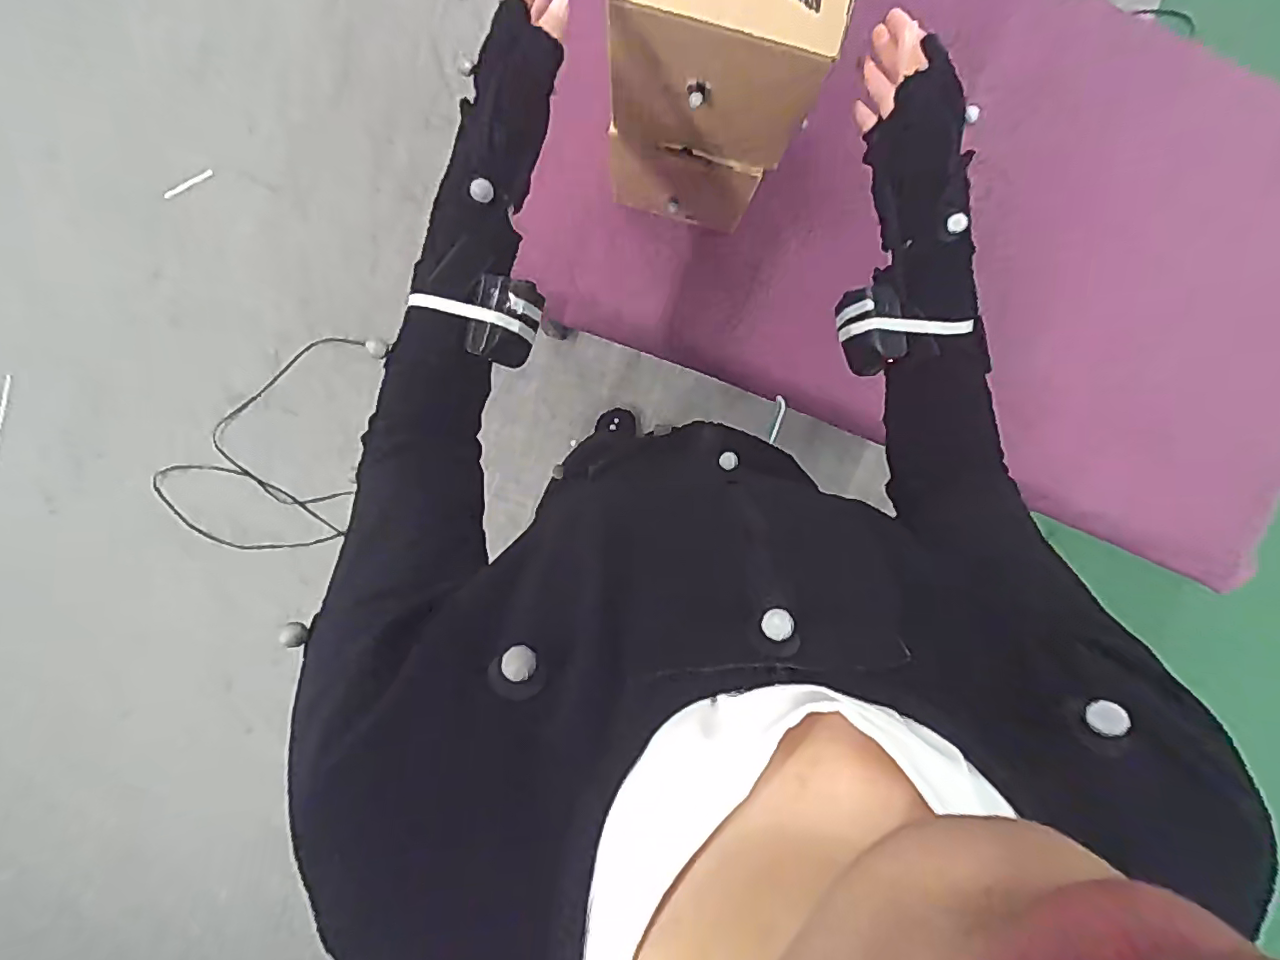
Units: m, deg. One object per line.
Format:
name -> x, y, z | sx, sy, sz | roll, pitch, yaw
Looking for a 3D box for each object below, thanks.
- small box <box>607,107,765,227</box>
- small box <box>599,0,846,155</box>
small box -> 0.063, -0.426, 0.623 | 0.168, 0.176, 0.179 | 14, 95, -2
small box -> 0.073, -0.413, 0.456 | 0.179, 0.176, 0.168 | 17, 93, -3
